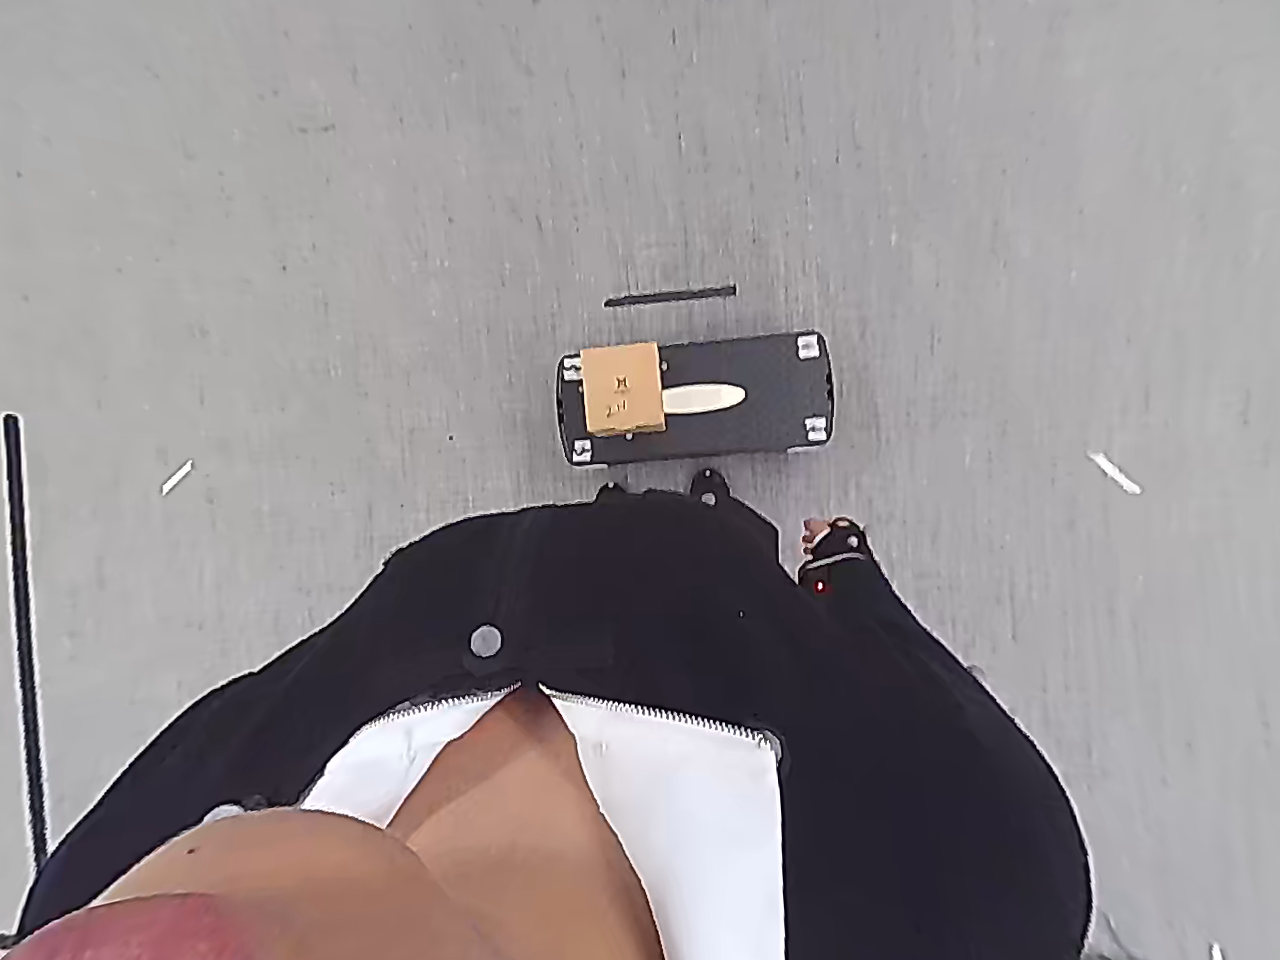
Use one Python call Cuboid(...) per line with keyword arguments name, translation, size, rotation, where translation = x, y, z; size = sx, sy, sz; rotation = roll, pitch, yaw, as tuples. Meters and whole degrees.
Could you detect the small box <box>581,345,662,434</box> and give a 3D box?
Cuboid(name="small box", translation=(-0.038, -0.193, 1.221), size=(0.168, 0.176, 0.179), rotation=(-5, 90, 4))
